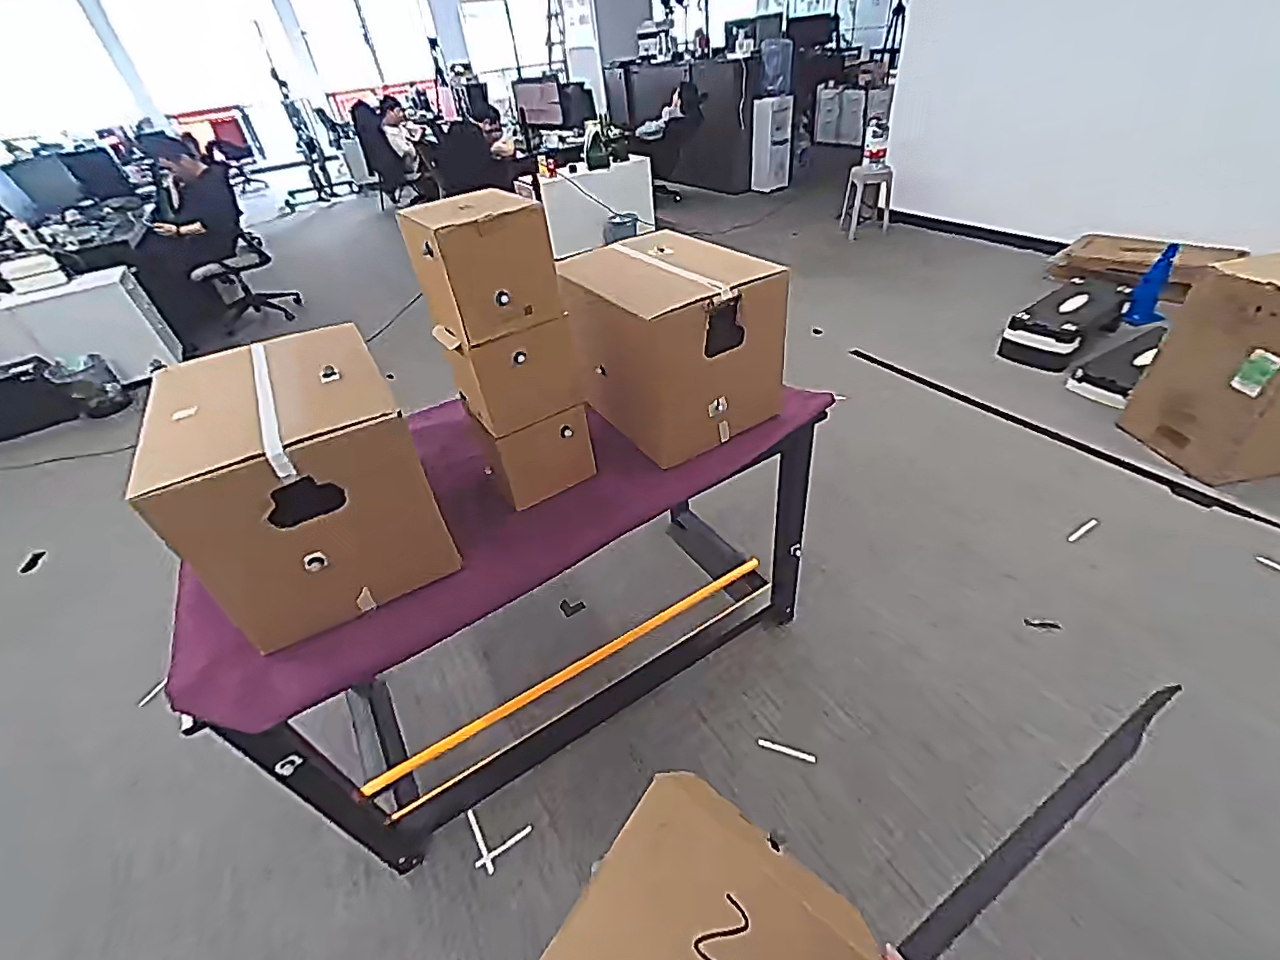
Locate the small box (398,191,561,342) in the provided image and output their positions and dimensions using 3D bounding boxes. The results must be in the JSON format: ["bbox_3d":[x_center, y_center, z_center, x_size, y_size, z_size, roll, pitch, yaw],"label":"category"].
[{"bbox_3d":[-0.243,-0.332,0.836,0.168,0.176,0.179,-29,44,-25],"label":"small box"}]

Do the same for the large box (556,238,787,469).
[{"bbox_3d":[0.054,-0.282,1.140,0.320,0.320,0.408,-25,41,-21],"label":"large box"}]
